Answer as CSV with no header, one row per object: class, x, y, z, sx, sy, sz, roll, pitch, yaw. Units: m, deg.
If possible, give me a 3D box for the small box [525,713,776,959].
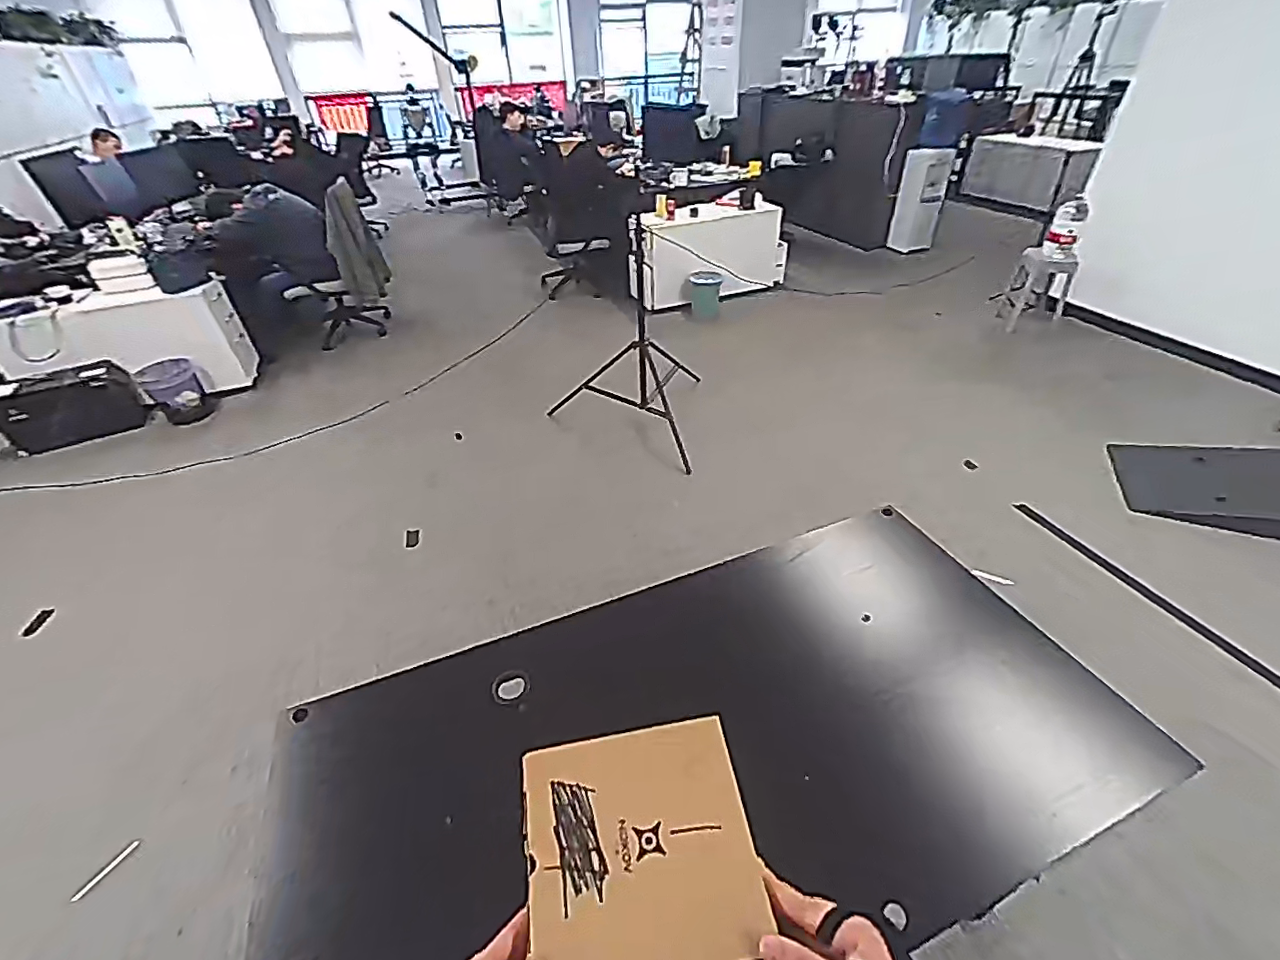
small box,0.003,0.335,0.477,0.179,0.176,0.168,-9,44,-5
